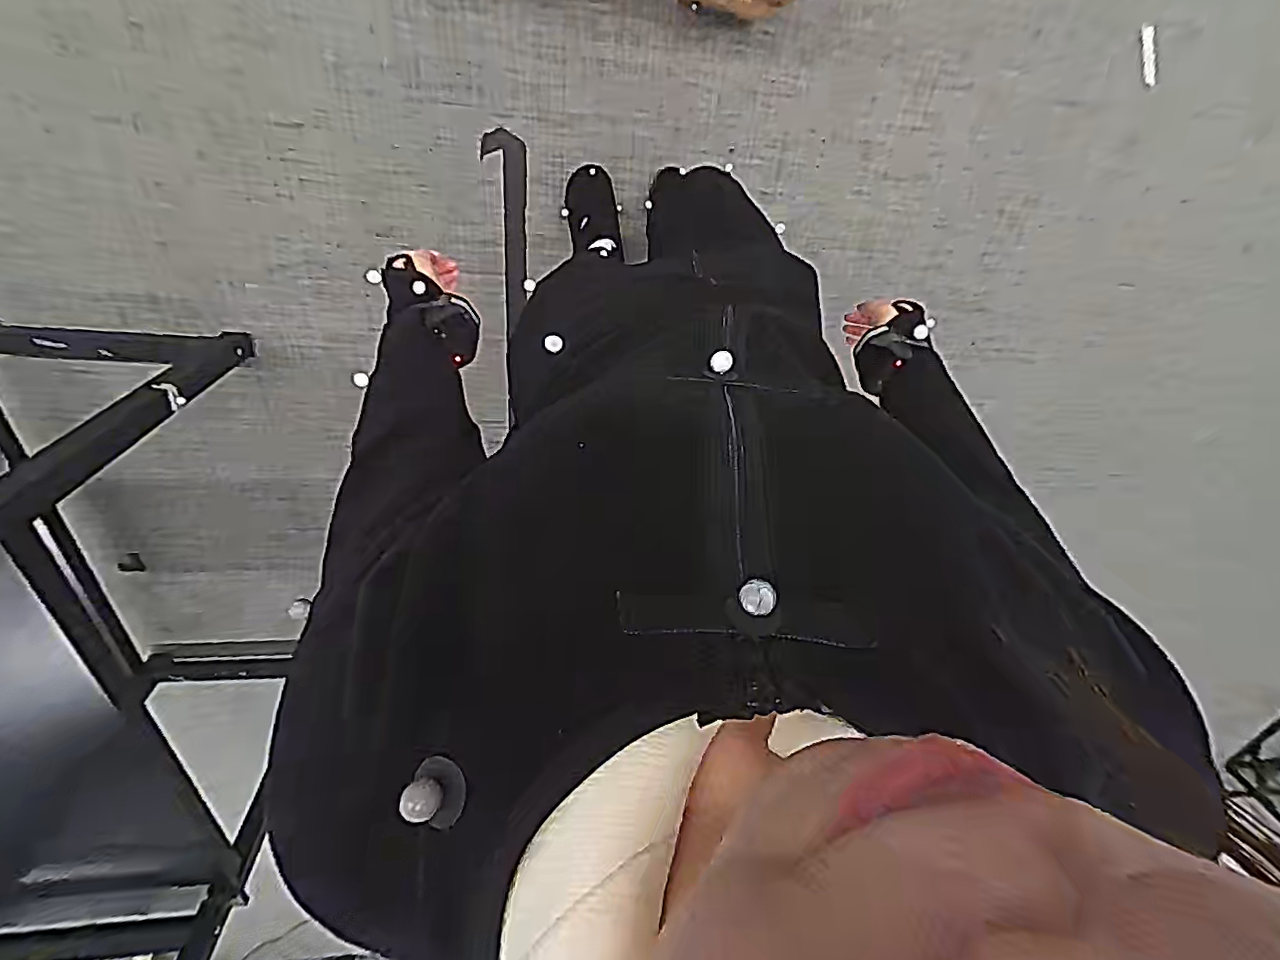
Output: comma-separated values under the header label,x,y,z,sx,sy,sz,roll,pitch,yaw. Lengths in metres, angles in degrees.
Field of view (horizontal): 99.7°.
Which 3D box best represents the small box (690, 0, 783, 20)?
label,x,y,z,sx,sy,sz,roll,pitch,yaw
small box,0.177,-0.953,0.957,0.168,0.176,0.179,6,122,-13
